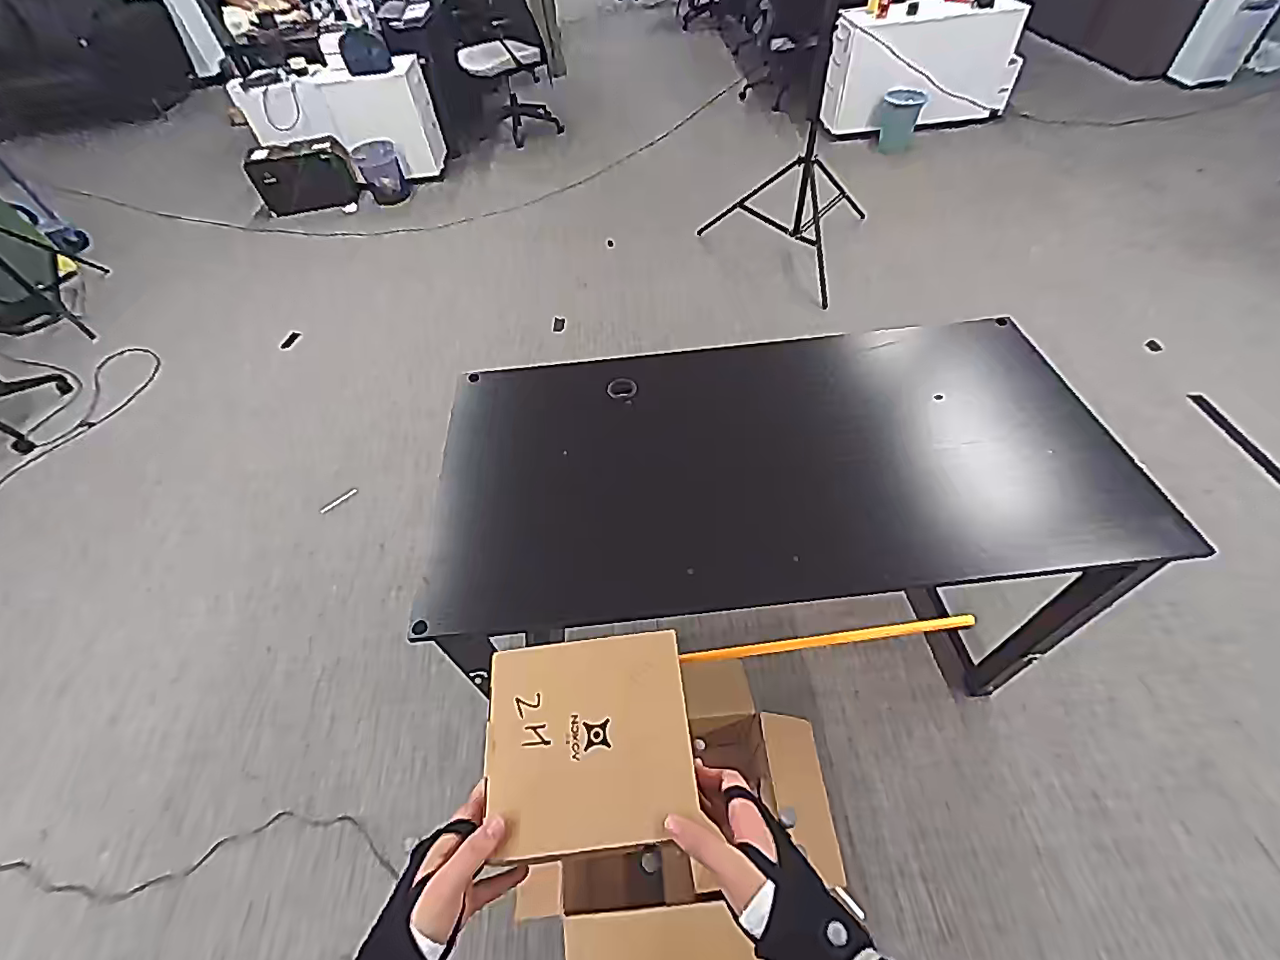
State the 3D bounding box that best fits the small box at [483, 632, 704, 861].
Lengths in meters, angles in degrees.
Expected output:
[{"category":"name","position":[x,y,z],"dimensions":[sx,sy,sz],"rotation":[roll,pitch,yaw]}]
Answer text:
[{"category":"small box","position":[-0.039,0.264,0.530],"dimensions":[0.179,0.176,0.168],"rotation":[-7,54,0]}]
